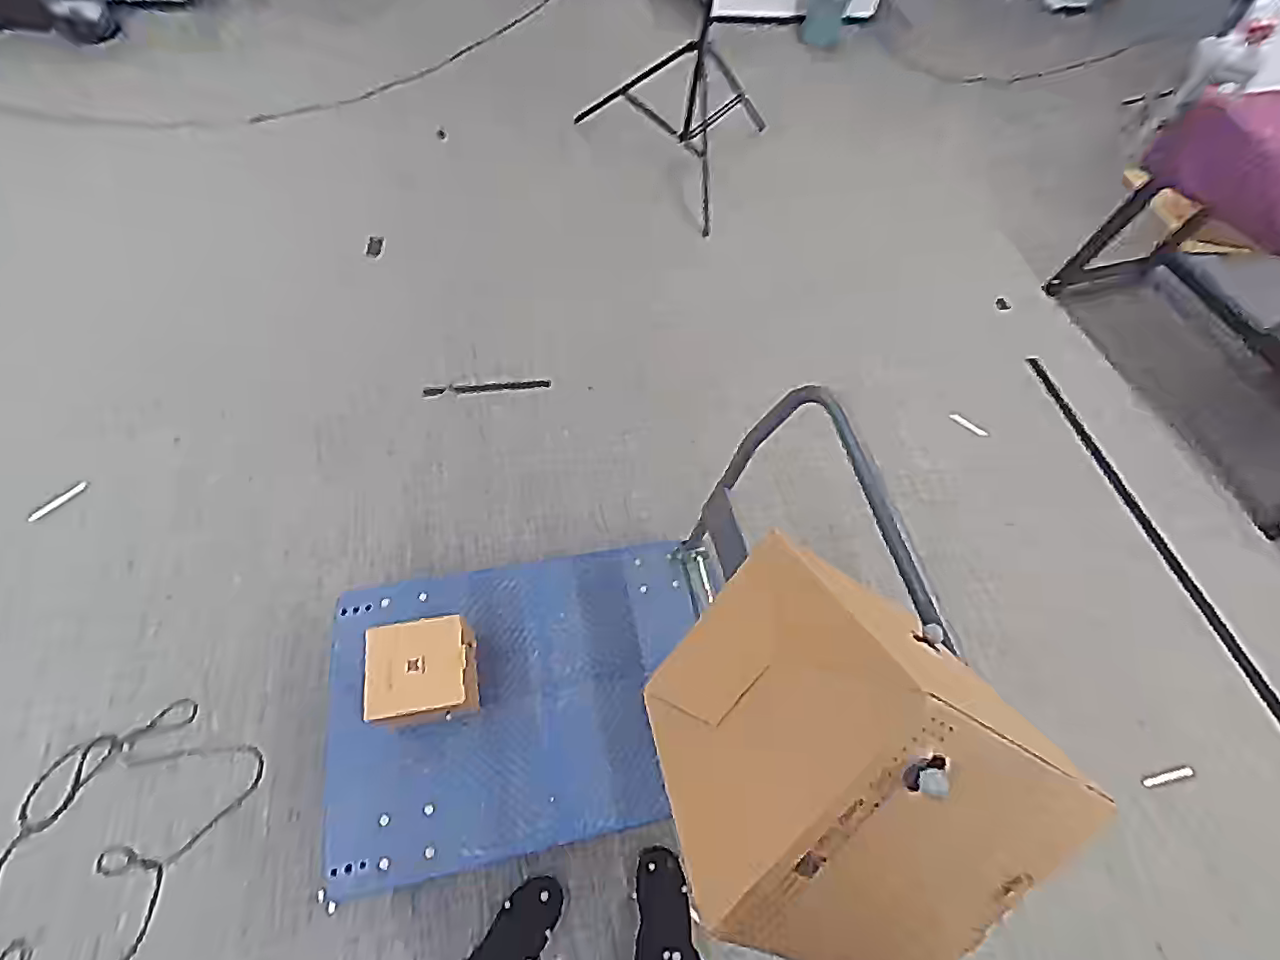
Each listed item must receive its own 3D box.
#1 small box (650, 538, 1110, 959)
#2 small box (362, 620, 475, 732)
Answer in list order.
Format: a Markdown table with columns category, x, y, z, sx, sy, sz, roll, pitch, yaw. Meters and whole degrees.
| category | x | y | z | sx | sy | sz | roll | pitch | yaw |
| --- | --- | --- | --- | --- | --- | --- | --- | --- | --- |
| small box | 0.126 | 0.169 | 0.352 | 0.176 | 0.179 | 0.168 | 33 | 101 | -20 |
| small box | -0.429 | 0.390 | 1.072 | 0.179 | 0.176 | 0.168 | -8 | 61 | -11 |
